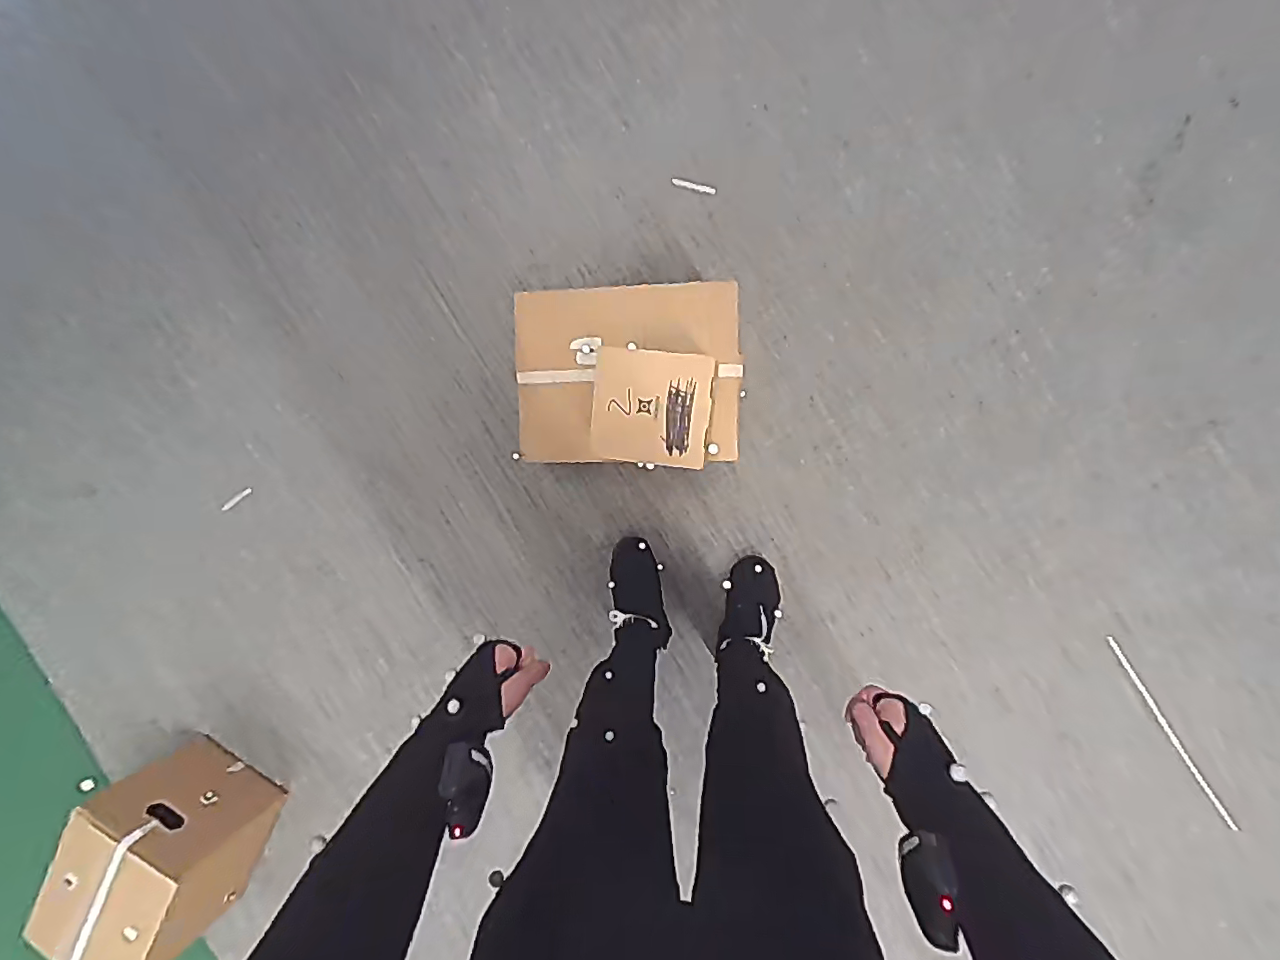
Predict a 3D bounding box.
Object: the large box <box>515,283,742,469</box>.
[{"bbox_3d":[-0.001,-0.190,1.103,0.408,0.320,0.320,0,94,10],"label":"large box"}]
